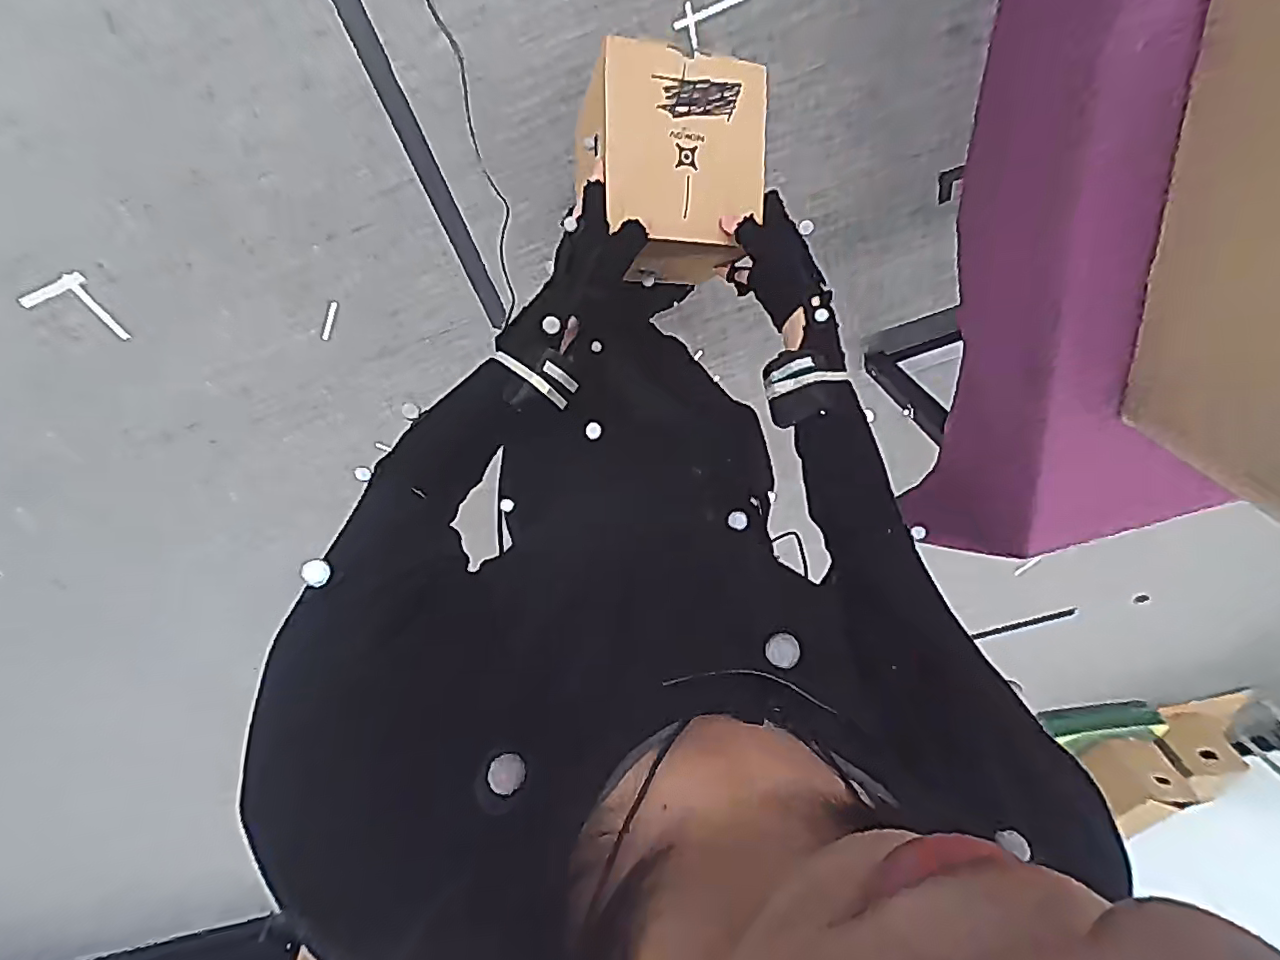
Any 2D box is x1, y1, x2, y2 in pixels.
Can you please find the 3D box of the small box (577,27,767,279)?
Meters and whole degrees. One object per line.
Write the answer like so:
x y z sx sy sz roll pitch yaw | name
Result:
0.024 -0.336 0.595 0.168 0.176 0.179 -3 98 -15 | small box
